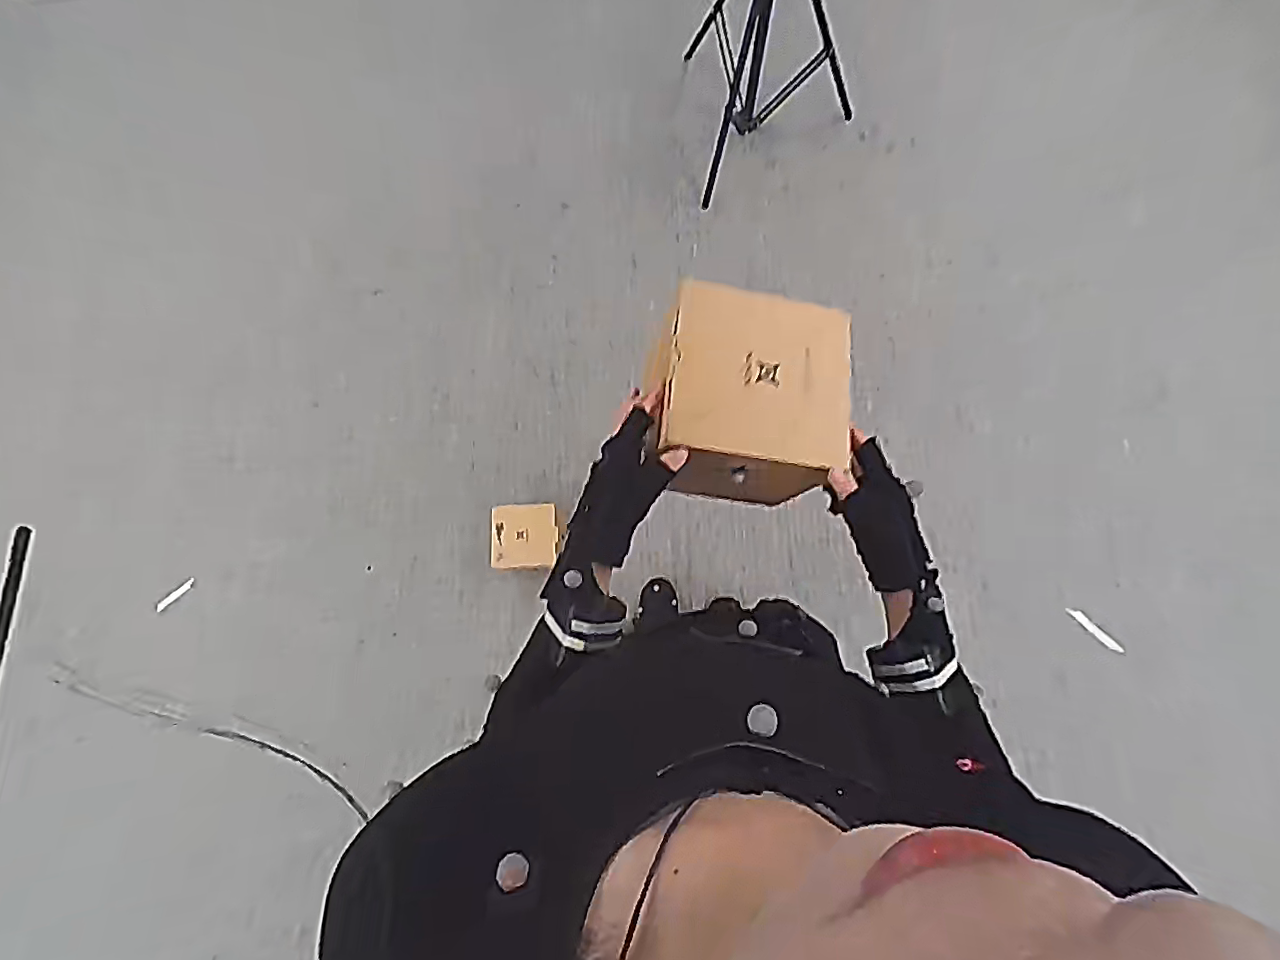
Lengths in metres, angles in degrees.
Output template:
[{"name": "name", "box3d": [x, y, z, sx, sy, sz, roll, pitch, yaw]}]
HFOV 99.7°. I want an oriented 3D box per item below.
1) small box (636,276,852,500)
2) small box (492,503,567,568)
[{"name": "small box", "box3d": [0.098, -0.081, 0.568, 0.179, 0.176, 0.168, 8, 76, -10]}, {"name": "small box", "box3d": [-0.301, 0.158, 1.508, 0.179, 0.176, 0.168, -3, 78, 2]}]
